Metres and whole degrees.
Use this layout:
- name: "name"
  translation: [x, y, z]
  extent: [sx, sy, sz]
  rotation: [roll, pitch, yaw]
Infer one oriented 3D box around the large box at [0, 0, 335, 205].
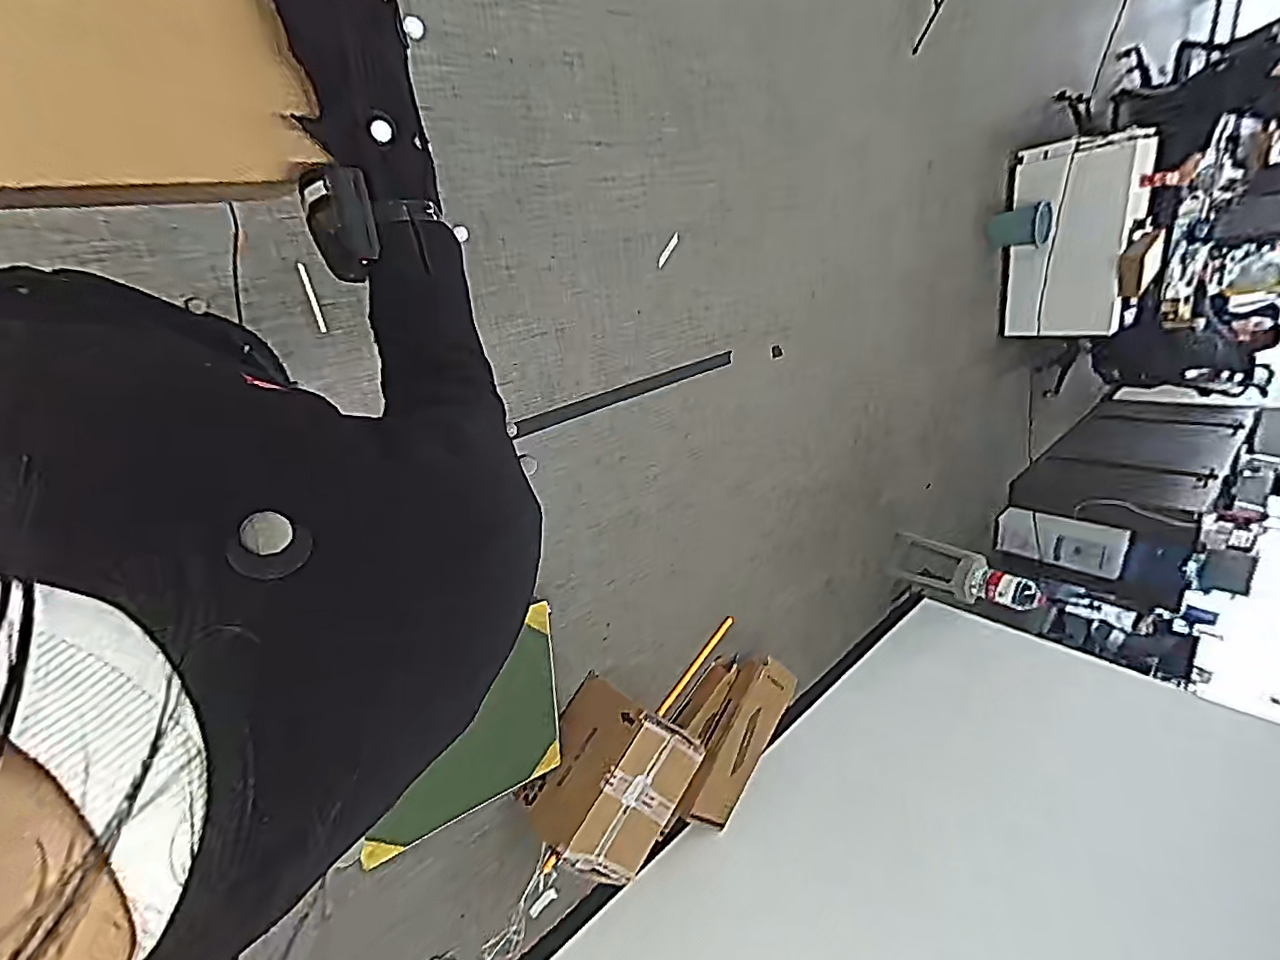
- name: "large box"
  translation: [-0.476, -0.342, 0.322]
  extent: [0.408, 0.320, 0.320]
  rotation: [-23, 124, -33]
